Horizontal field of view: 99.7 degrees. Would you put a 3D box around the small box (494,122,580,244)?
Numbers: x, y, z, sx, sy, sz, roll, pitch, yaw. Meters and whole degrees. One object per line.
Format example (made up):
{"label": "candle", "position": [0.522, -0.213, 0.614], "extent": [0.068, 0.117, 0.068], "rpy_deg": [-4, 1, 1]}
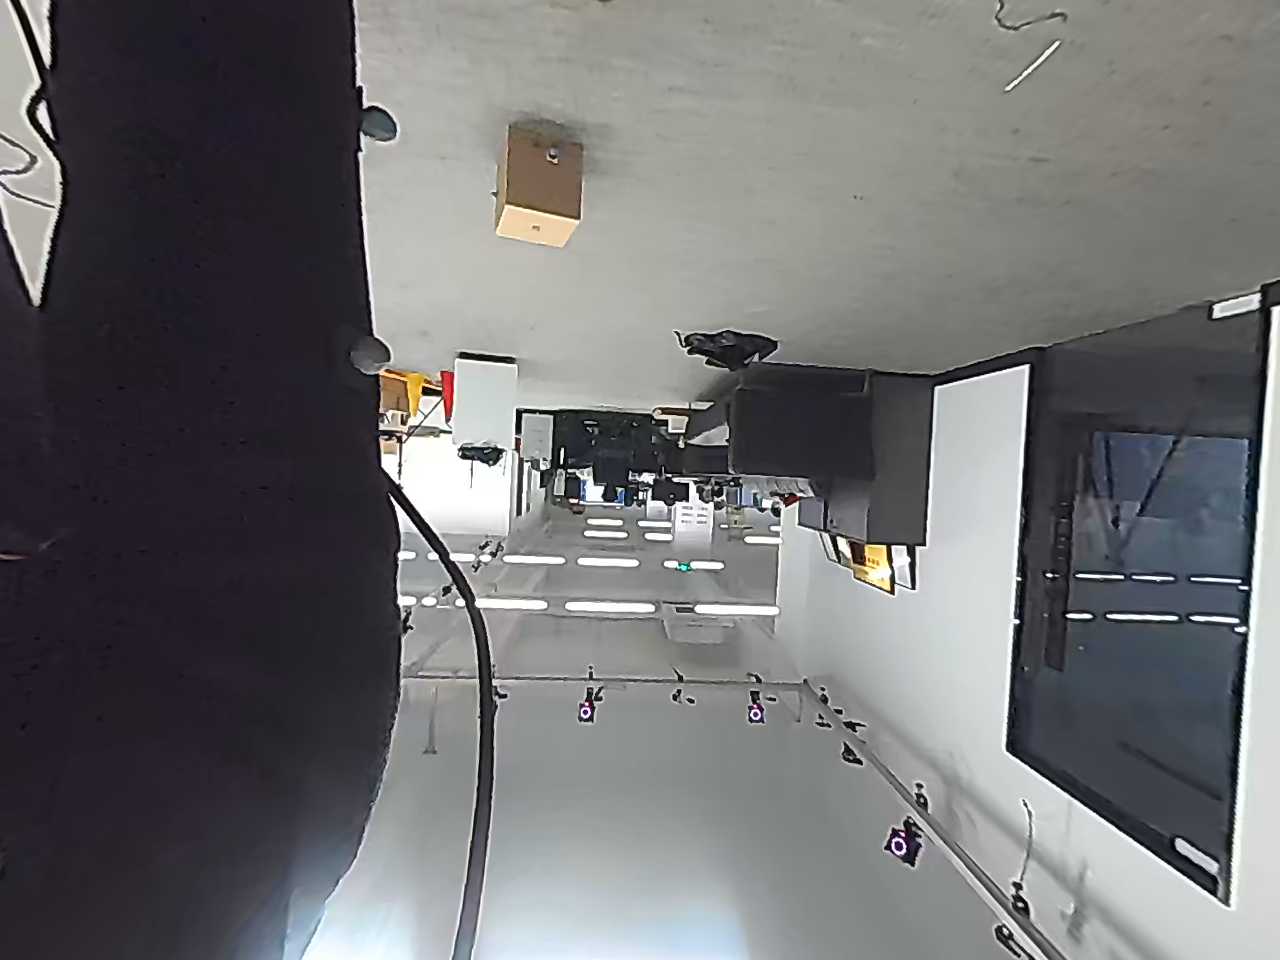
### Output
{"label": "small box", "position": [-0.235, -0.664, 1.227], "extent": [0.168, 0.176, 0.179], "rpy_deg": [1, -179, -22]}
